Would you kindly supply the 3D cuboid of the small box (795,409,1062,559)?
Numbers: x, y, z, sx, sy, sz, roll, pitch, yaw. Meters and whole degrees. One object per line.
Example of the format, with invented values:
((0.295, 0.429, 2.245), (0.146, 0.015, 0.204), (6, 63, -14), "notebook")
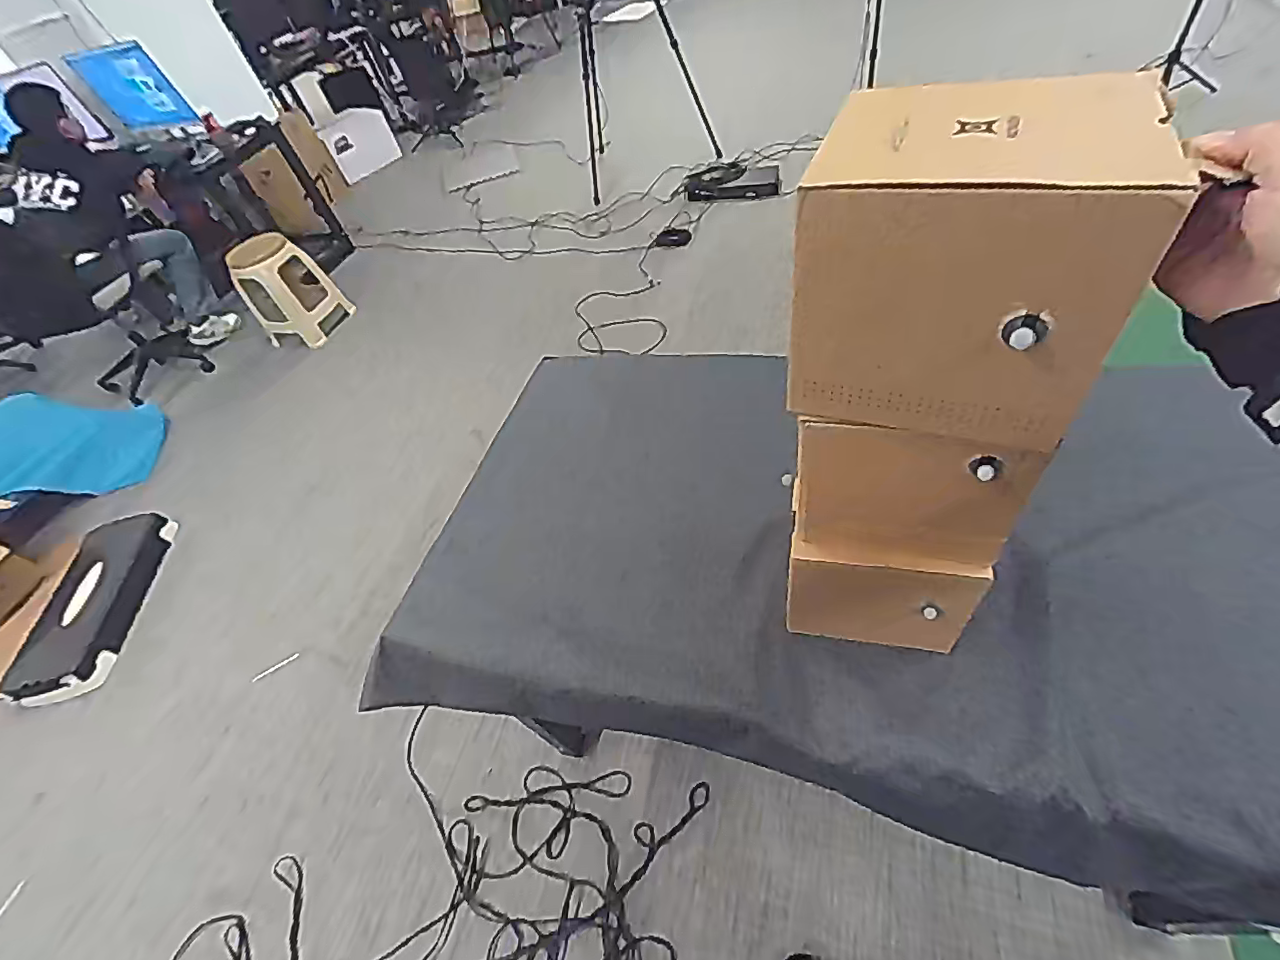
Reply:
((0.241, -0.045, 0.495), (0.179, 0.176, 0.168), (7, 52, 18), "small box")

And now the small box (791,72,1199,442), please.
((0.211, -0.146, 0.369), (0.179, 0.176, 0.168), (12, 52, 23), "small box")
